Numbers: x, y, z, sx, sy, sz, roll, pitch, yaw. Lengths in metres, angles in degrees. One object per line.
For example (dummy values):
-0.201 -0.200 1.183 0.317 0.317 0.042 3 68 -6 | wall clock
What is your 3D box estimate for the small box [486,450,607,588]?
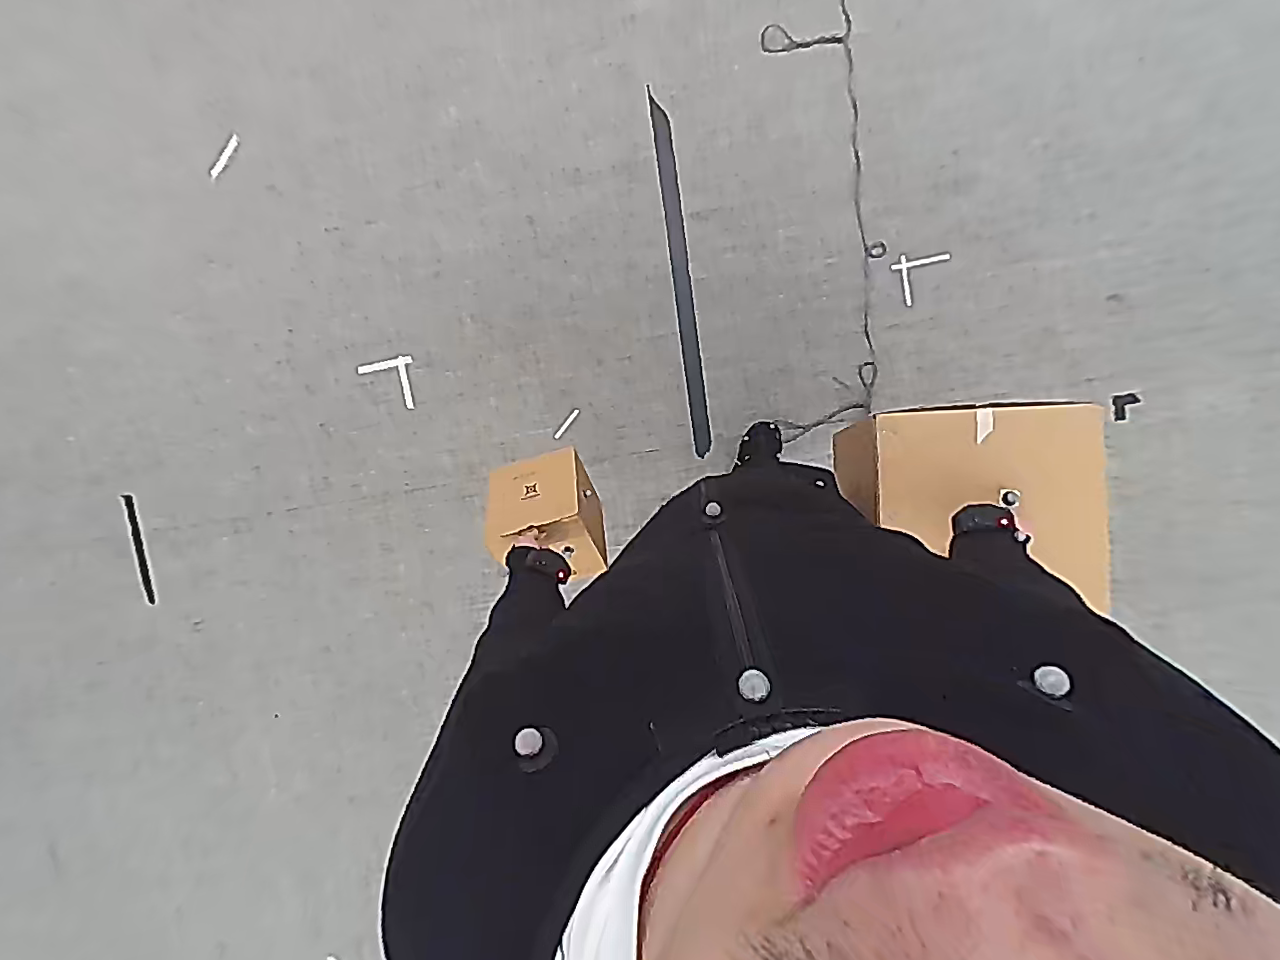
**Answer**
-0.165 0.078 0.991 0.168 0.179 0.176 -15 133 4 | small box
